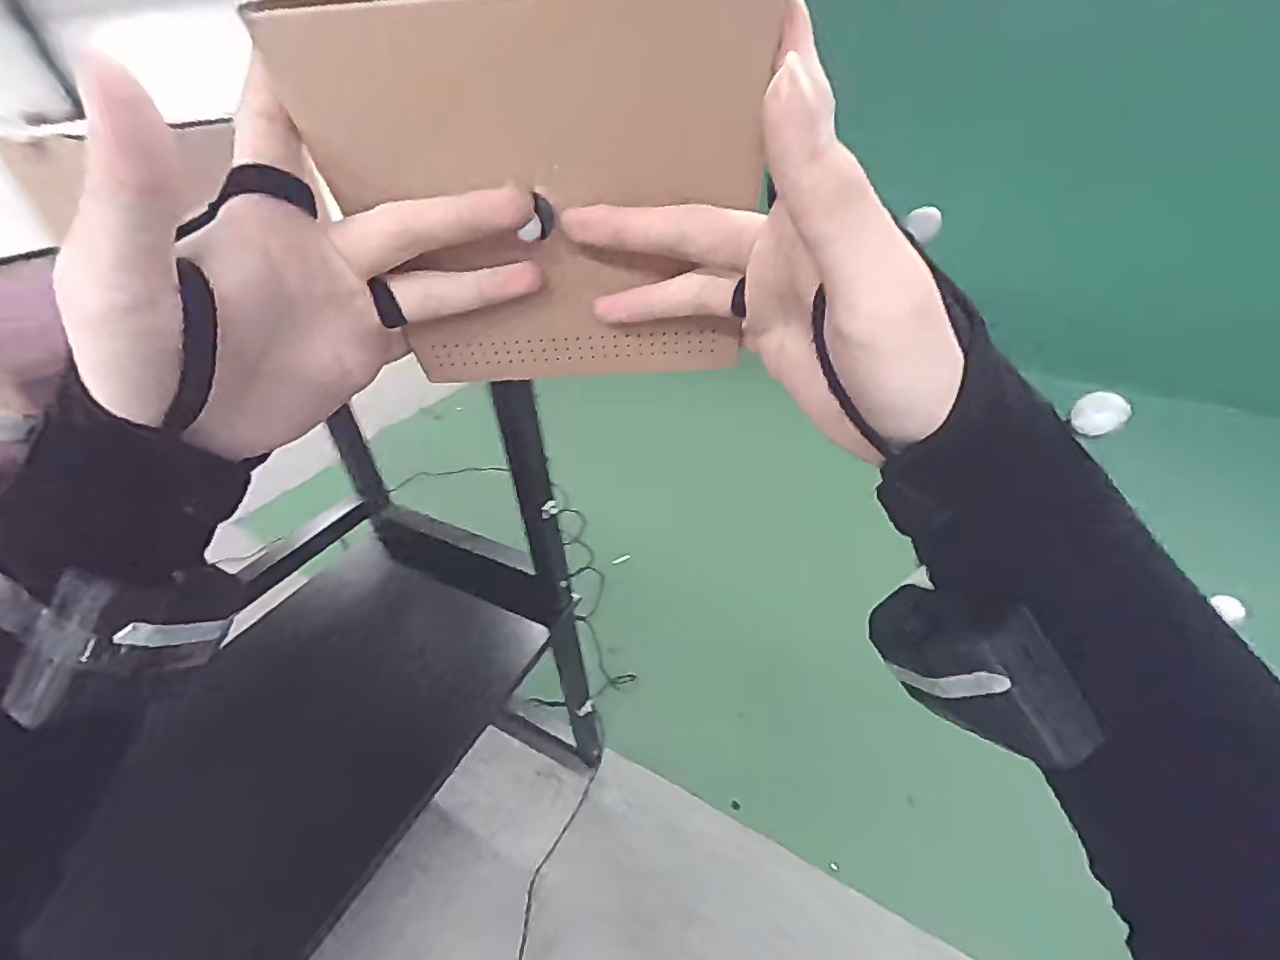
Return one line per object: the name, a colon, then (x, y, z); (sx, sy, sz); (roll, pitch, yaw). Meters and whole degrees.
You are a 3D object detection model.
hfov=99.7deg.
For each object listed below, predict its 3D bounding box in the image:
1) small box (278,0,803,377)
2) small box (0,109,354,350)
small box: (-0.029, -0.171, 0.285); (0.179, 0.176, 0.168); (-3, 54, 3)
small box: (-0.421, -0.243, 0.519); (0.168, 0.176, 0.179); (17, 44, 22)
